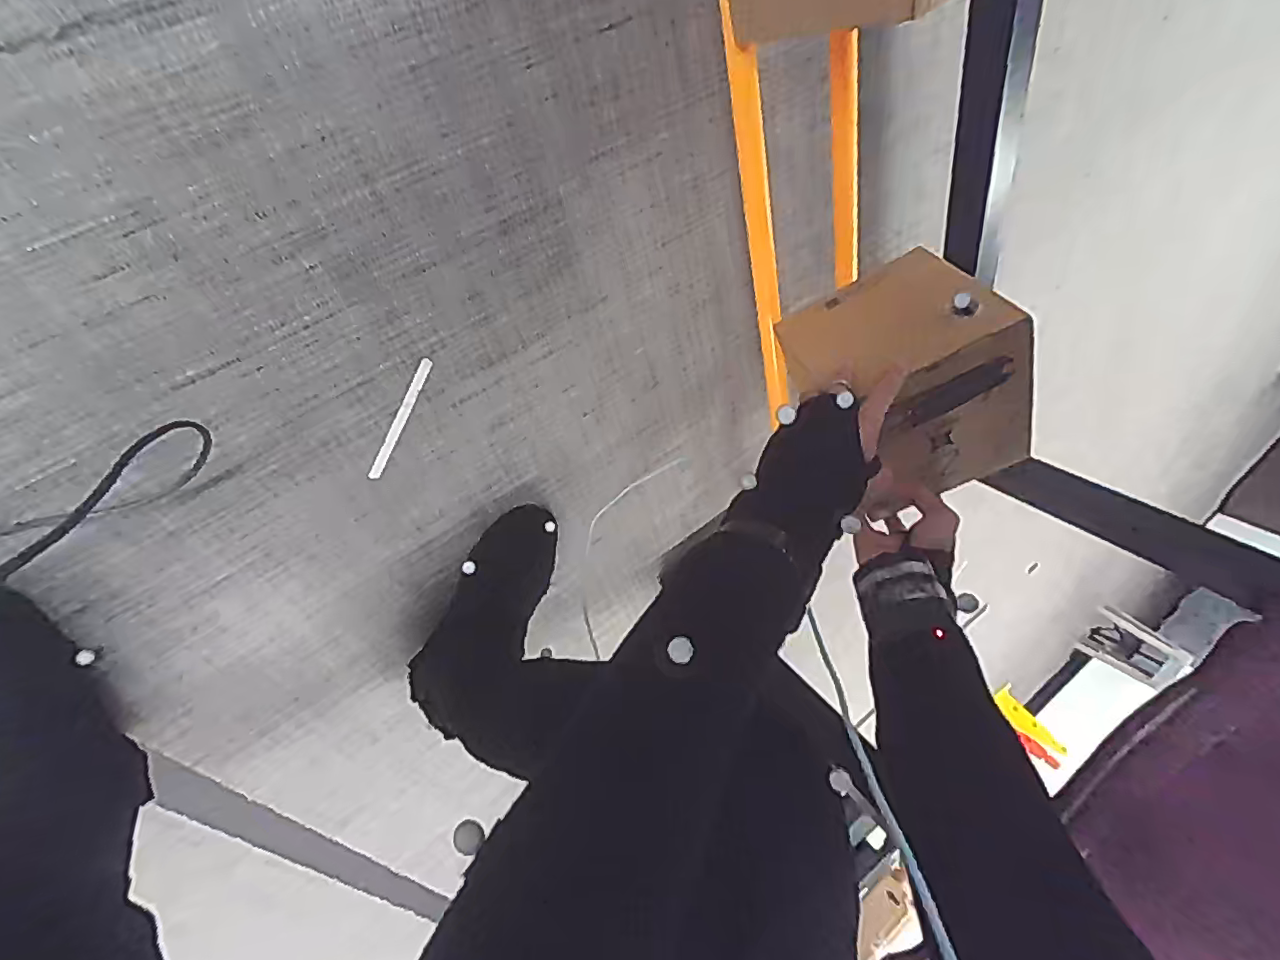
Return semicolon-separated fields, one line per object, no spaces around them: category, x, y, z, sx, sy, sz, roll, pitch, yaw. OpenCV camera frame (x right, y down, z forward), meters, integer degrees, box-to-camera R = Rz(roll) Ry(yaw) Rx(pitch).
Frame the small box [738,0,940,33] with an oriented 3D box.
small box;0.160;-0.416;0.332;0.168;0.176;0.179;-35;135;-13
